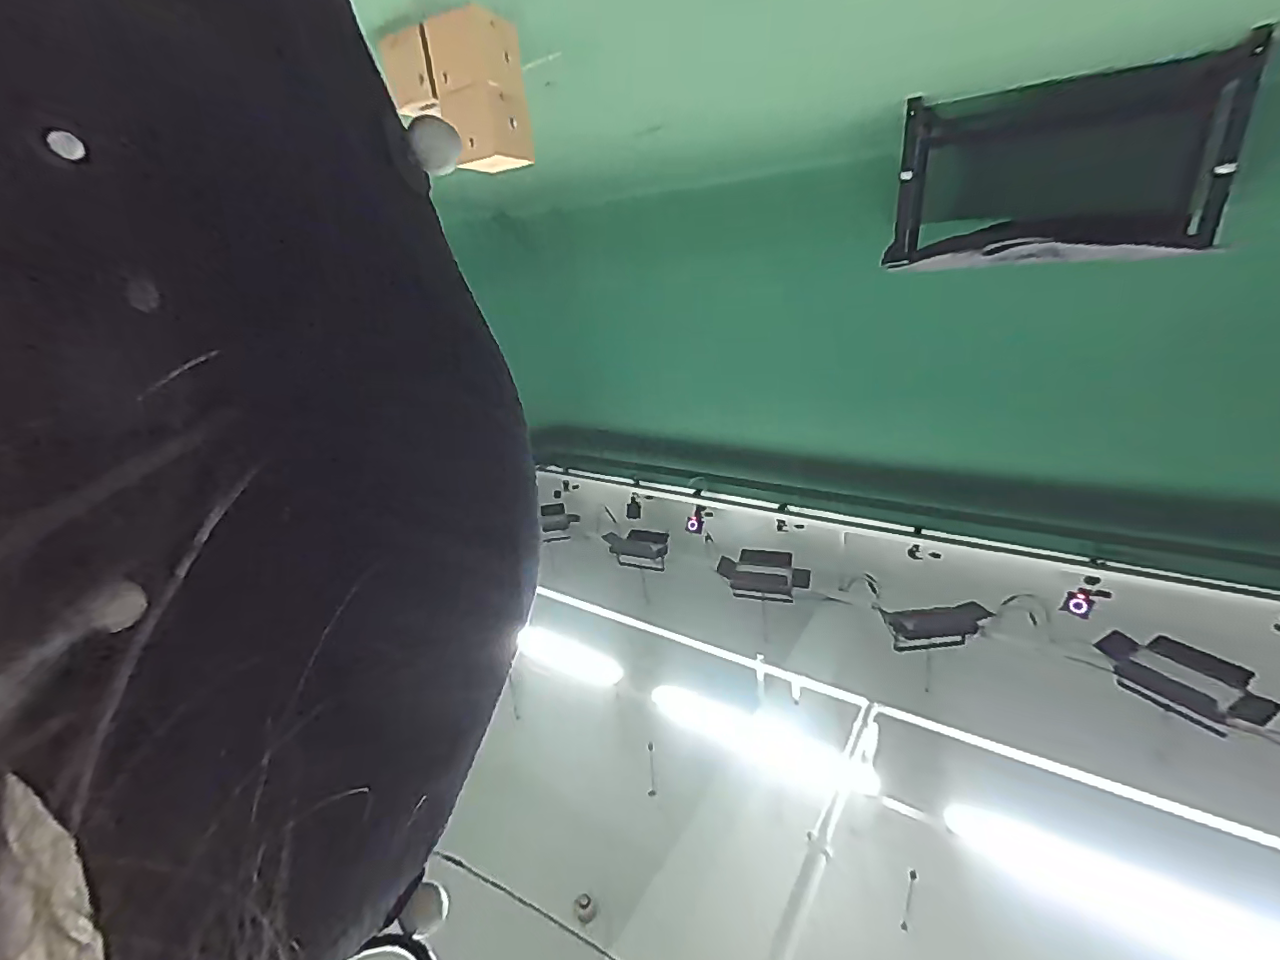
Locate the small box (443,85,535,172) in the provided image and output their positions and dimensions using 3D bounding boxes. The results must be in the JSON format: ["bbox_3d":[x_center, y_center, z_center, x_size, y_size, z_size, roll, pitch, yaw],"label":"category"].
[{"bbox_3d":[-0.423,-0.976,1.508,0.179,0.176,0.168,8,-155,29],"label":"small box"}]
